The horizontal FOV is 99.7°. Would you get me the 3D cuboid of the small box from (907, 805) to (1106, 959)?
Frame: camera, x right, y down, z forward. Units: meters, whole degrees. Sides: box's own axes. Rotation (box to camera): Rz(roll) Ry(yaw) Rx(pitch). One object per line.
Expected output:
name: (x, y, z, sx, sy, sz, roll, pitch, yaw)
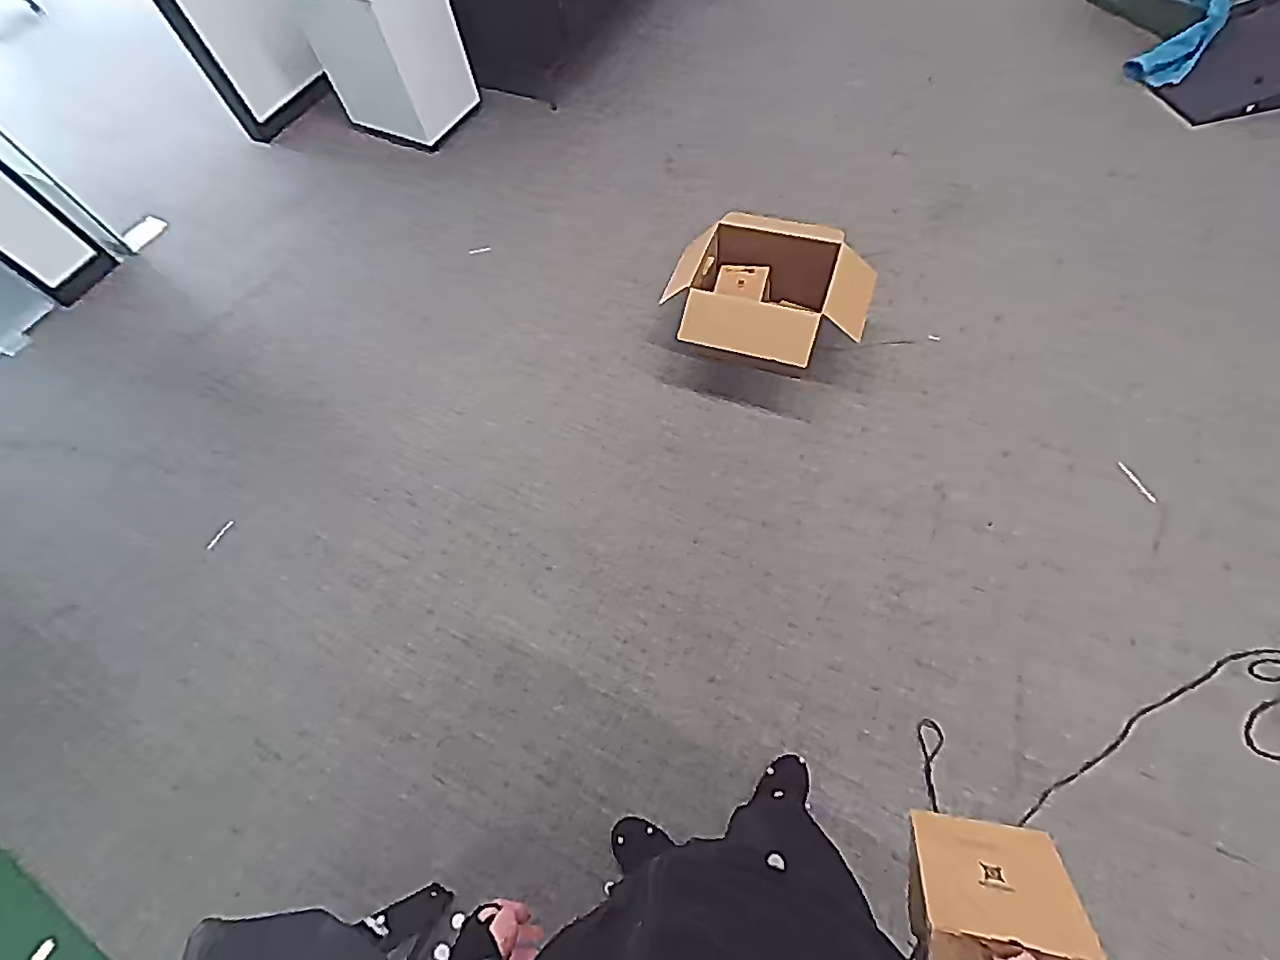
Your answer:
small box: (0.426, 0.544, 0.656, 0.168, 0.179, 0.176, -1, 100, 19)
